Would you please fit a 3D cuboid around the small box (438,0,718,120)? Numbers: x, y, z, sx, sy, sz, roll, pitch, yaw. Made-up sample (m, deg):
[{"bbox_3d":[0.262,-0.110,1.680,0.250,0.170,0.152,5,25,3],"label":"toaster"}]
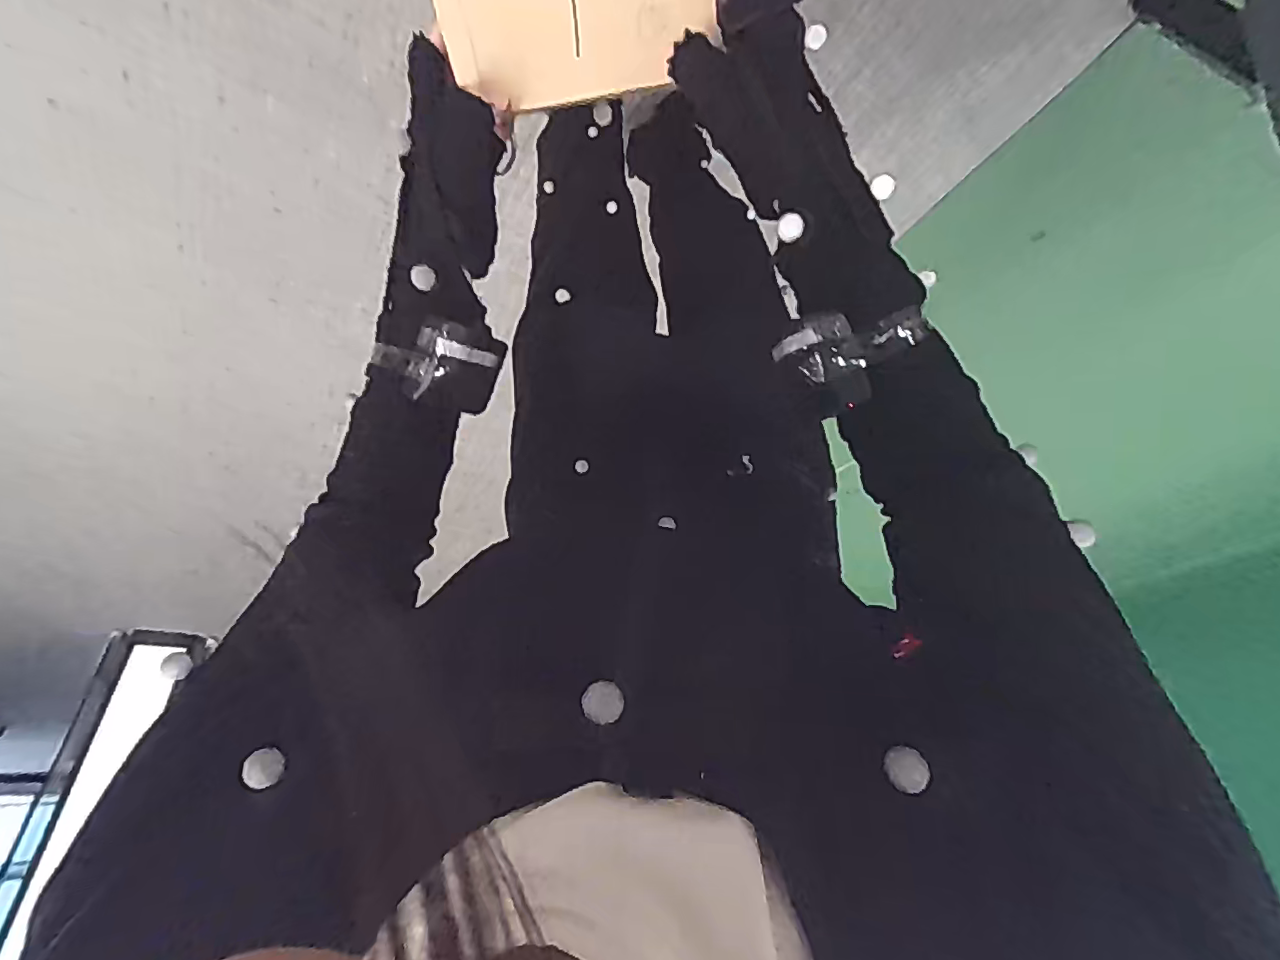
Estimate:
[{"bbox_3d":[-0.039,-0.358,0.363,0.168,0.176,0.179,-5,125,8],"label":"small box"}]
